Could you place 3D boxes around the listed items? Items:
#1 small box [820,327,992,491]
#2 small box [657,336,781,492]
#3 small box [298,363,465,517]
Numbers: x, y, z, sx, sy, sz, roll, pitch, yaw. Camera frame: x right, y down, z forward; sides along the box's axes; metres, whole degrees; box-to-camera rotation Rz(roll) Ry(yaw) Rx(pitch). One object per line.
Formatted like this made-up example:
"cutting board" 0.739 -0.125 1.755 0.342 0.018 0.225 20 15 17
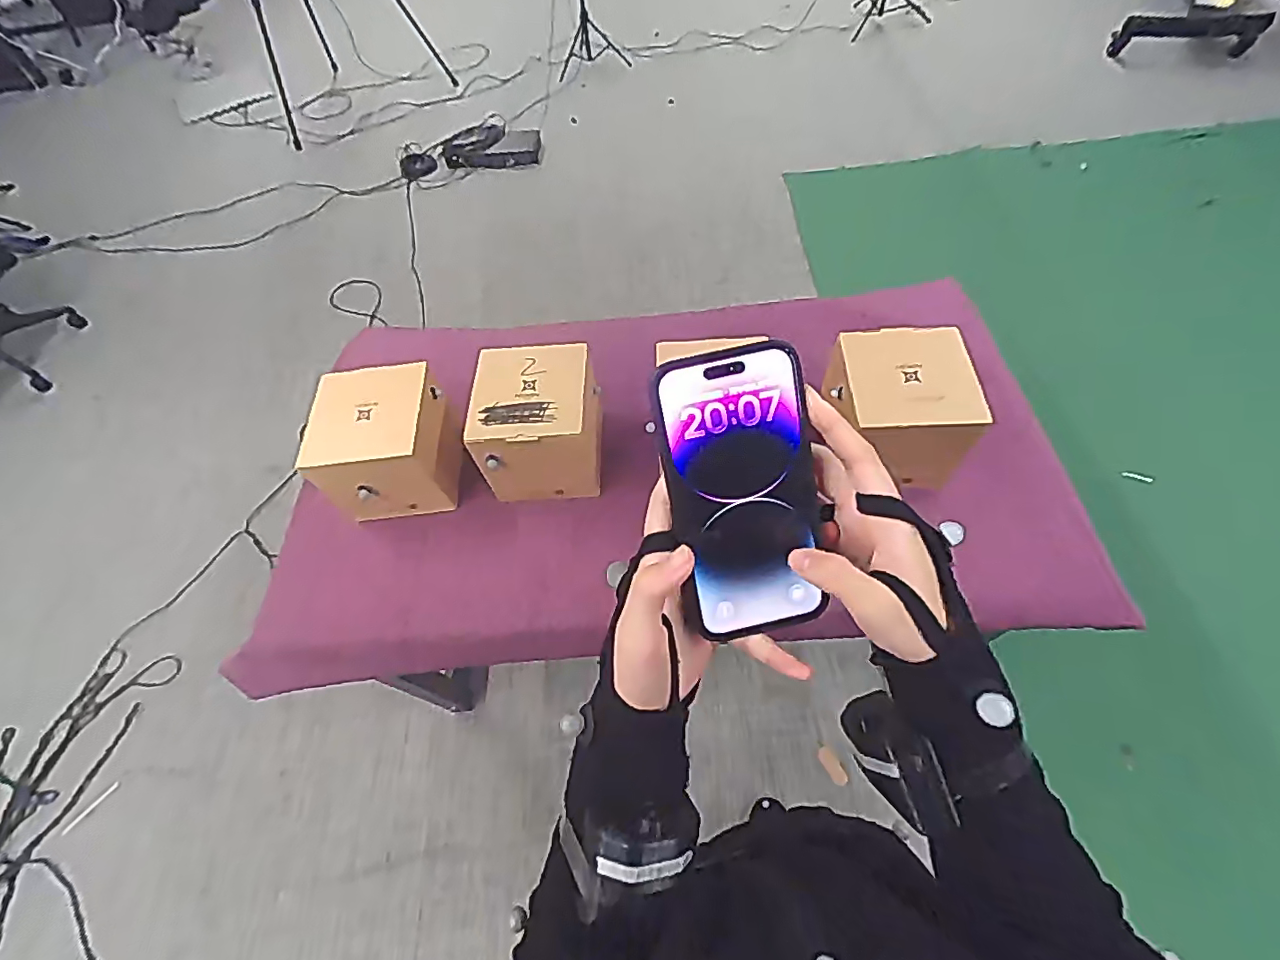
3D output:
"small box" 0.372 -0.101 0.797 0.168 0.176 0.179 -1 58 6
"small box" 0.112 -0.090 0.815 0.168 0.176 0.179 -2 58 4
"small box" -0.386 -0.054 0.845 0.168 0.176 0.179 -7 57 2
